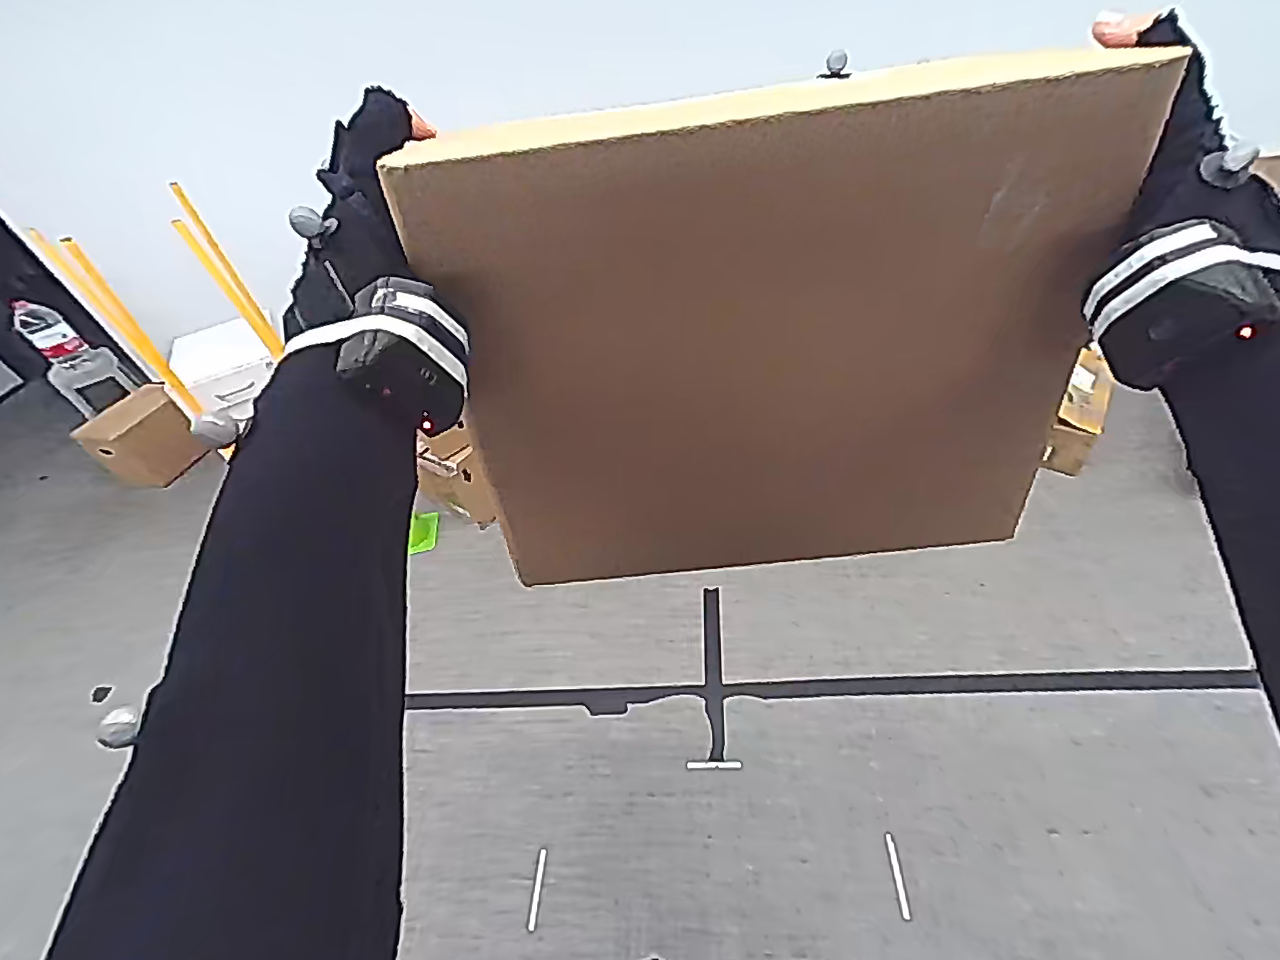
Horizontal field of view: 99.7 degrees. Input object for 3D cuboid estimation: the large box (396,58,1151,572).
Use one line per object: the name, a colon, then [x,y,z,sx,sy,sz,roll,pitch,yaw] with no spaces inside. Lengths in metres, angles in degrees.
large box: [0.074,-0.147,0.484,0.408,0.320,0.320,-6,35,2]
